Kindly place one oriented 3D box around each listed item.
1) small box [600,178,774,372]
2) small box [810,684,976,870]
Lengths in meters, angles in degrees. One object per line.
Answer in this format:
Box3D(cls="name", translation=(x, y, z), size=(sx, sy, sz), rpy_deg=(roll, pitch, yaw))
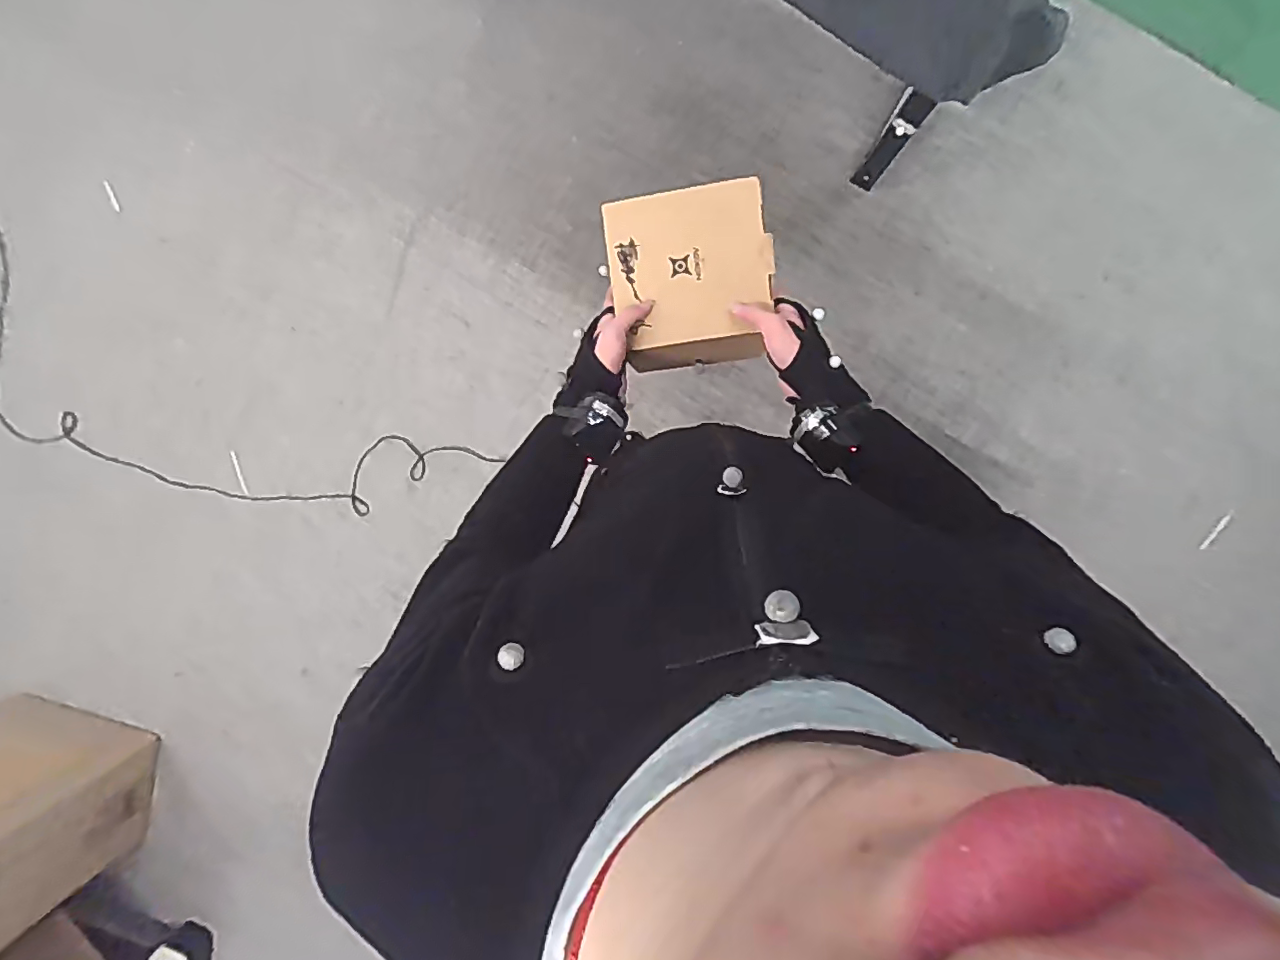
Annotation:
Box3D(cls="small box", translation=(0.056, -0.235, 0.663), size=(0.179, 0.176, 0.168), rpy_deg=(-7, 91, 6))
Box3D(cls="small box", translation=(0.410, 0.490, 0.916), size=(0.168, 0.176, 0.179), rpy_deg=(33, 99, 0))
